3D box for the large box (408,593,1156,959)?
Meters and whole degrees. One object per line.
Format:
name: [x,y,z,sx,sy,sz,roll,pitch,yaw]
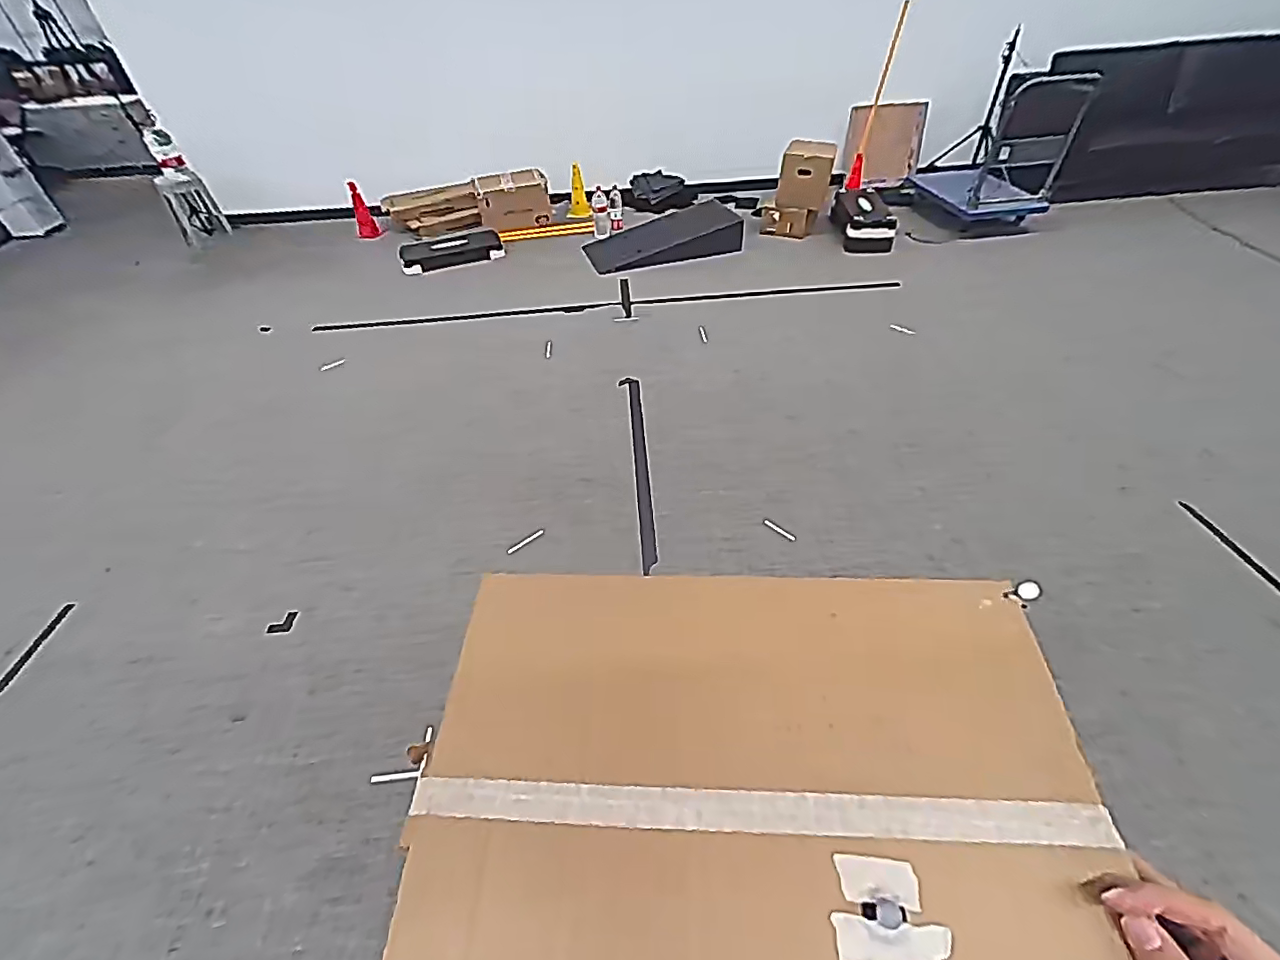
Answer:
large box: [0.079,0.302,0.443,0.408,0.320,0.320,0,52,4]
